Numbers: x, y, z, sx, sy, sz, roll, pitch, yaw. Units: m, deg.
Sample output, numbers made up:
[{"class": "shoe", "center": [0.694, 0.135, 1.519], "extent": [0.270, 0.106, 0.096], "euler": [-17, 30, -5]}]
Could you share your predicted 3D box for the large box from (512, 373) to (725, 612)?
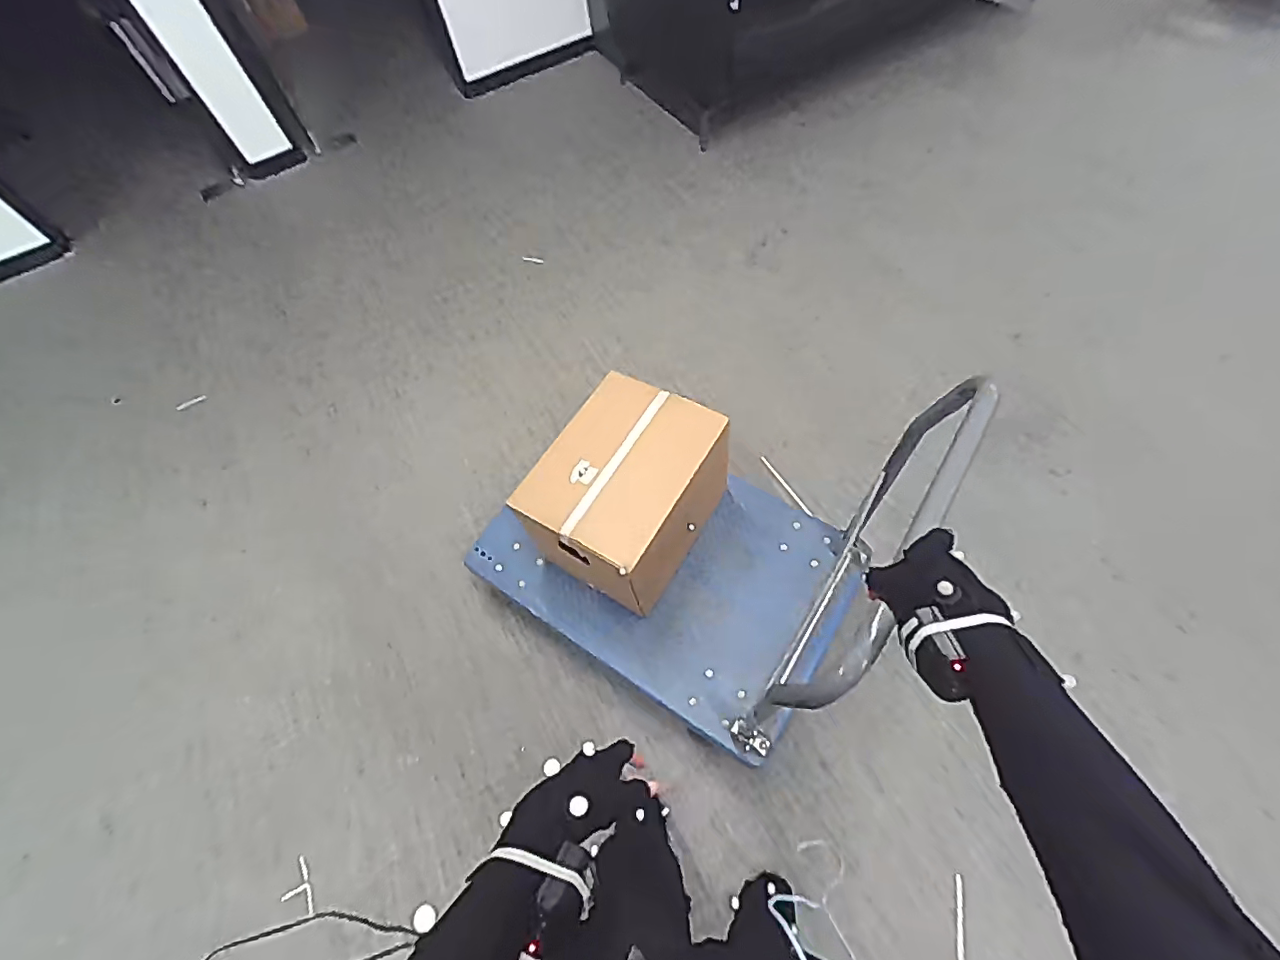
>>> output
[{"class": "large box", "center": [-0.023, 0.033, 1.273], "extent": [0.320, 0.320, 0.408], "euler": [26, 68, 21]}]
